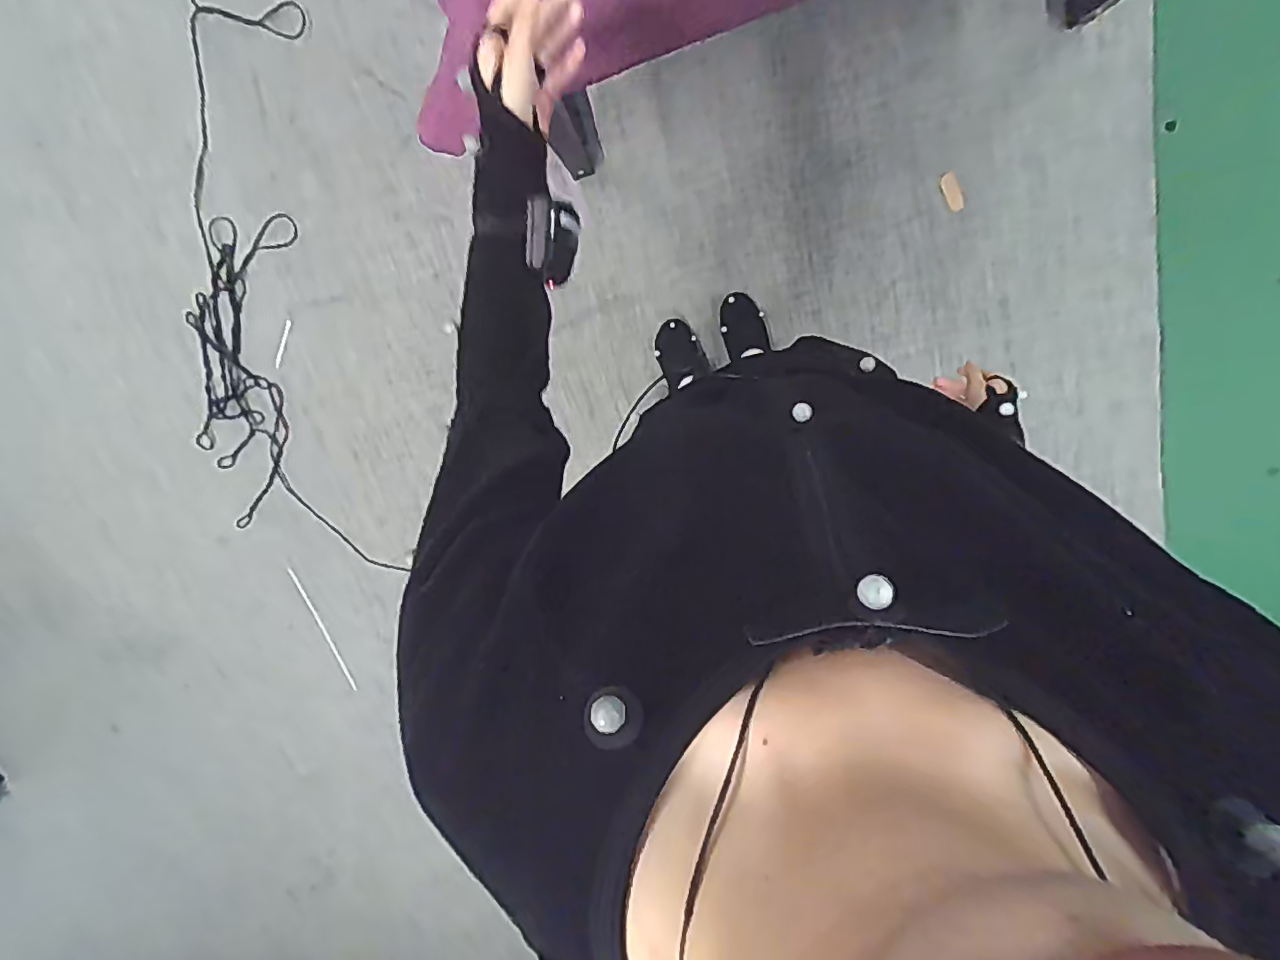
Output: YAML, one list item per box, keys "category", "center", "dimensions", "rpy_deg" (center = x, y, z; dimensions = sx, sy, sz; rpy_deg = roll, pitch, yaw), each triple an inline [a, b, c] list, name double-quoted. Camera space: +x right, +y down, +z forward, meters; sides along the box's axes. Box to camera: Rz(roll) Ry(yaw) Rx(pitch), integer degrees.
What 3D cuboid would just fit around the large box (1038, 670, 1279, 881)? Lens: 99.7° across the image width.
- category: "large box"
  center: [1.466, 0.817, 1.527]
  dimensions: [0.408, 0.320, 0.320]
  rpy_deg: [-29, 103, 10]
